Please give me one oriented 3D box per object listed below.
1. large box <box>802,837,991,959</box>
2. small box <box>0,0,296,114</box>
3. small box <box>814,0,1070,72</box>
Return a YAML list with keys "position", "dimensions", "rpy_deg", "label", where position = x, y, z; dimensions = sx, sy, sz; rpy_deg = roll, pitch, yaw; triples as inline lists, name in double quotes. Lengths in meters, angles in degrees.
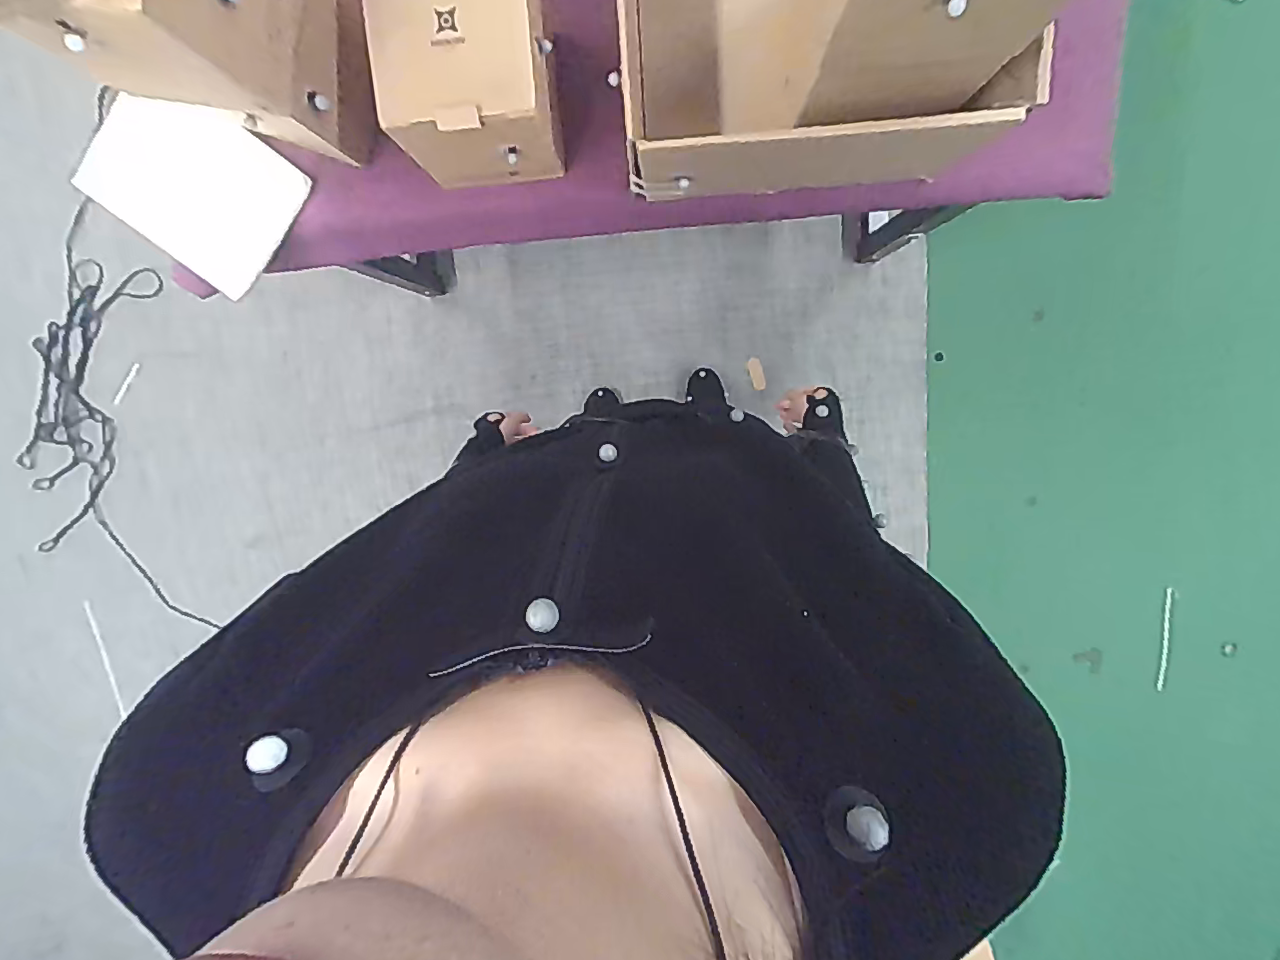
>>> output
- position: [0.741, 1.329, 1.563]
  dimensions: [0.408, 0.320, 0.320]
  rpy_deg: [-19, 99, 4]
  label: "large box"
- position: [-0.428, -0.448, 0.464]
  dimensions: [0.179, 0.176, 0.168]
  rpy_deg: [9, 101, 1]
  label: "small box"
- position: [0.234, -0.429, 0.384]
  dimensions: [0.179, 0.176, 0.168]
  rpy_deg: [-1, 100, 6]
  label: "small box"
